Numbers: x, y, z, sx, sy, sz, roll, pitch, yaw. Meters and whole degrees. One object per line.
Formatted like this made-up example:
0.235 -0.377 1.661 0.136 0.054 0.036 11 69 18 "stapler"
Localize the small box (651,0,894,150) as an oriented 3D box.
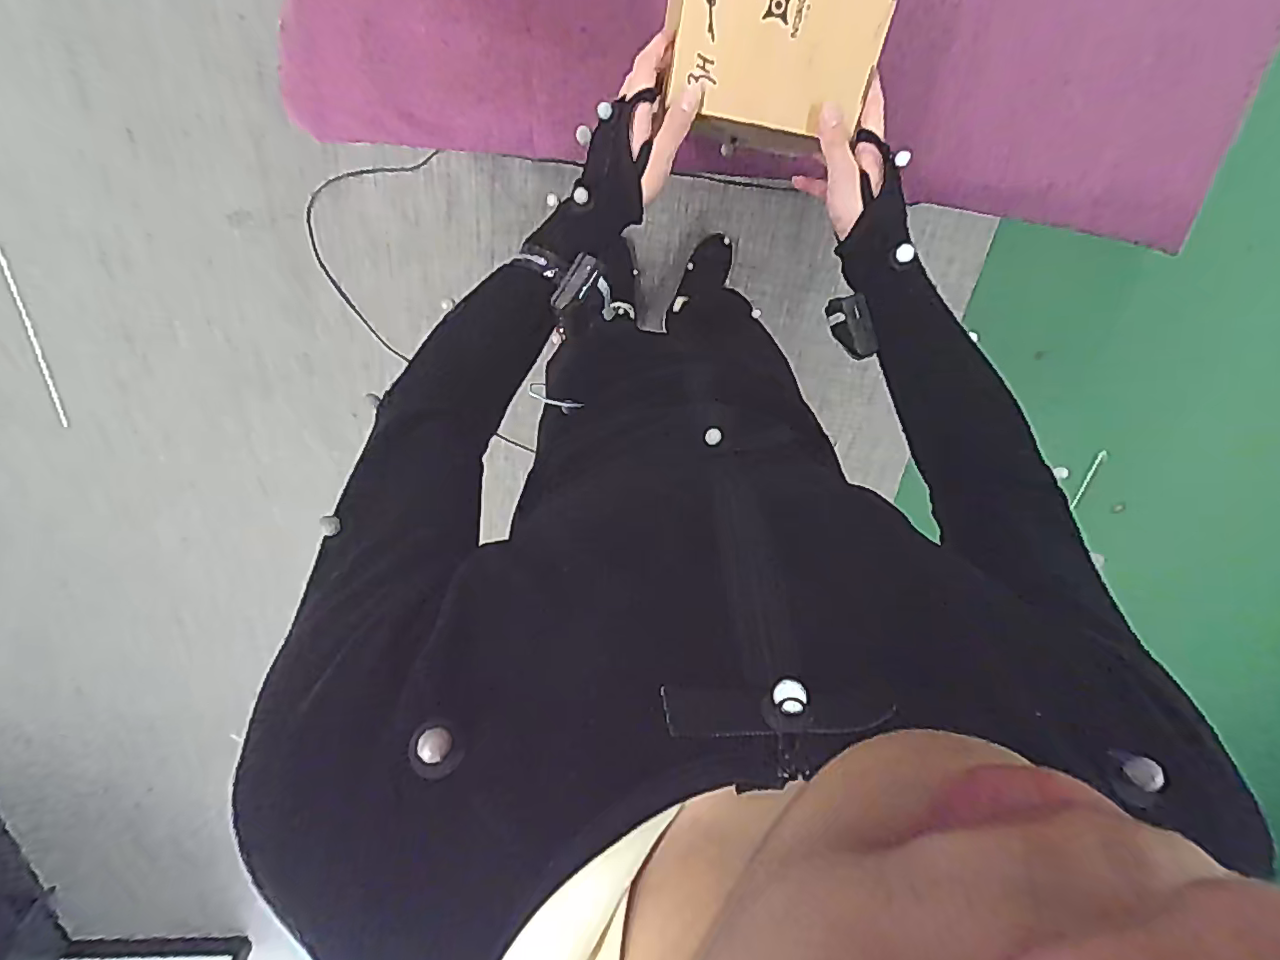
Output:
0.115 -0.426 0.515 0.179 0.176 0.168 7 117 -8 "small box"
